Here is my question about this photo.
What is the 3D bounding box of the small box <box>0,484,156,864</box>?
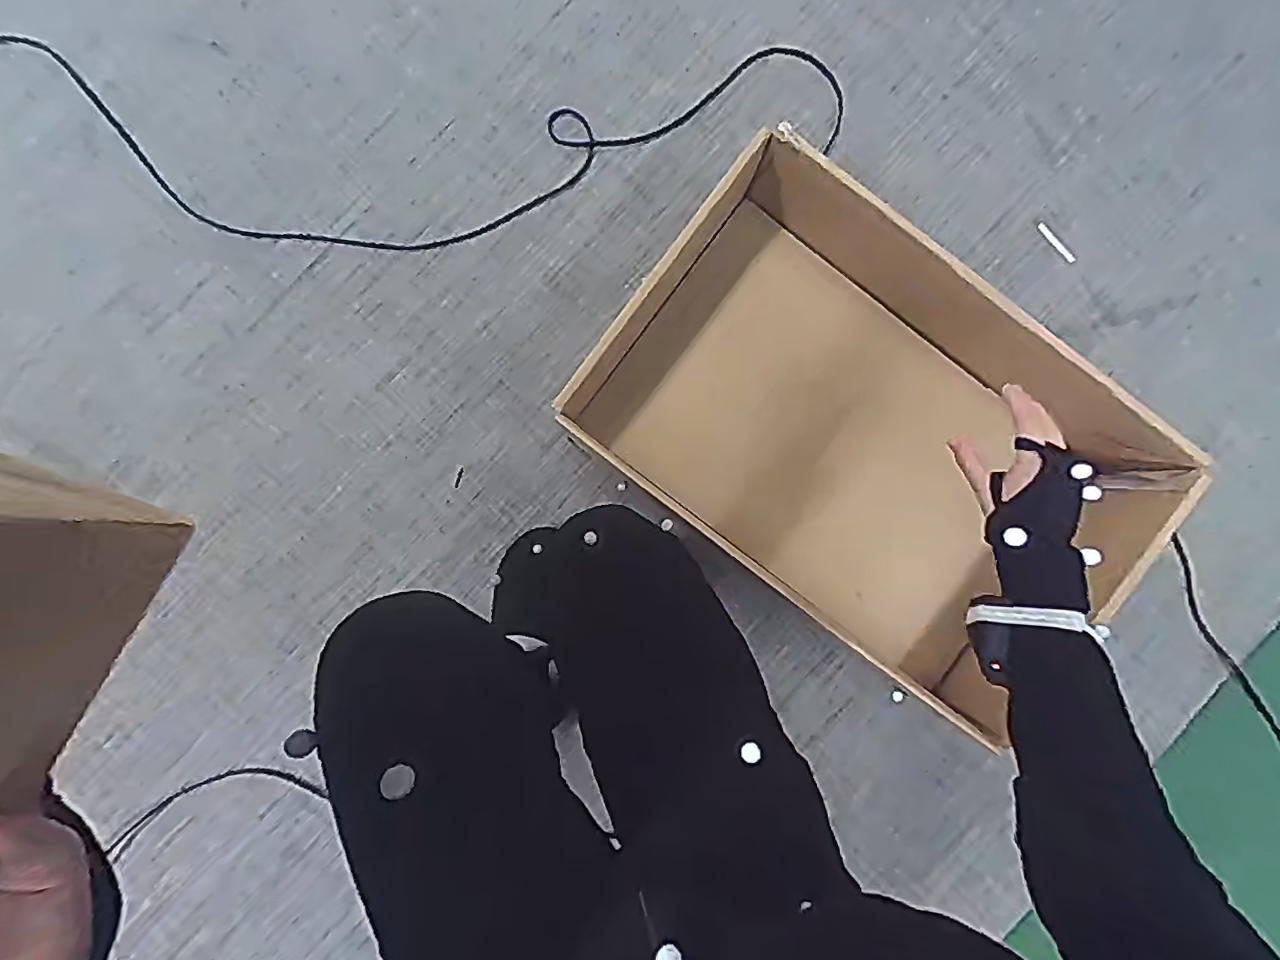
[{"bbox_3d":[-0.265,0.067,0.116,0.168,0.176,0.179,25,74,-19],"label":"small box"}]
